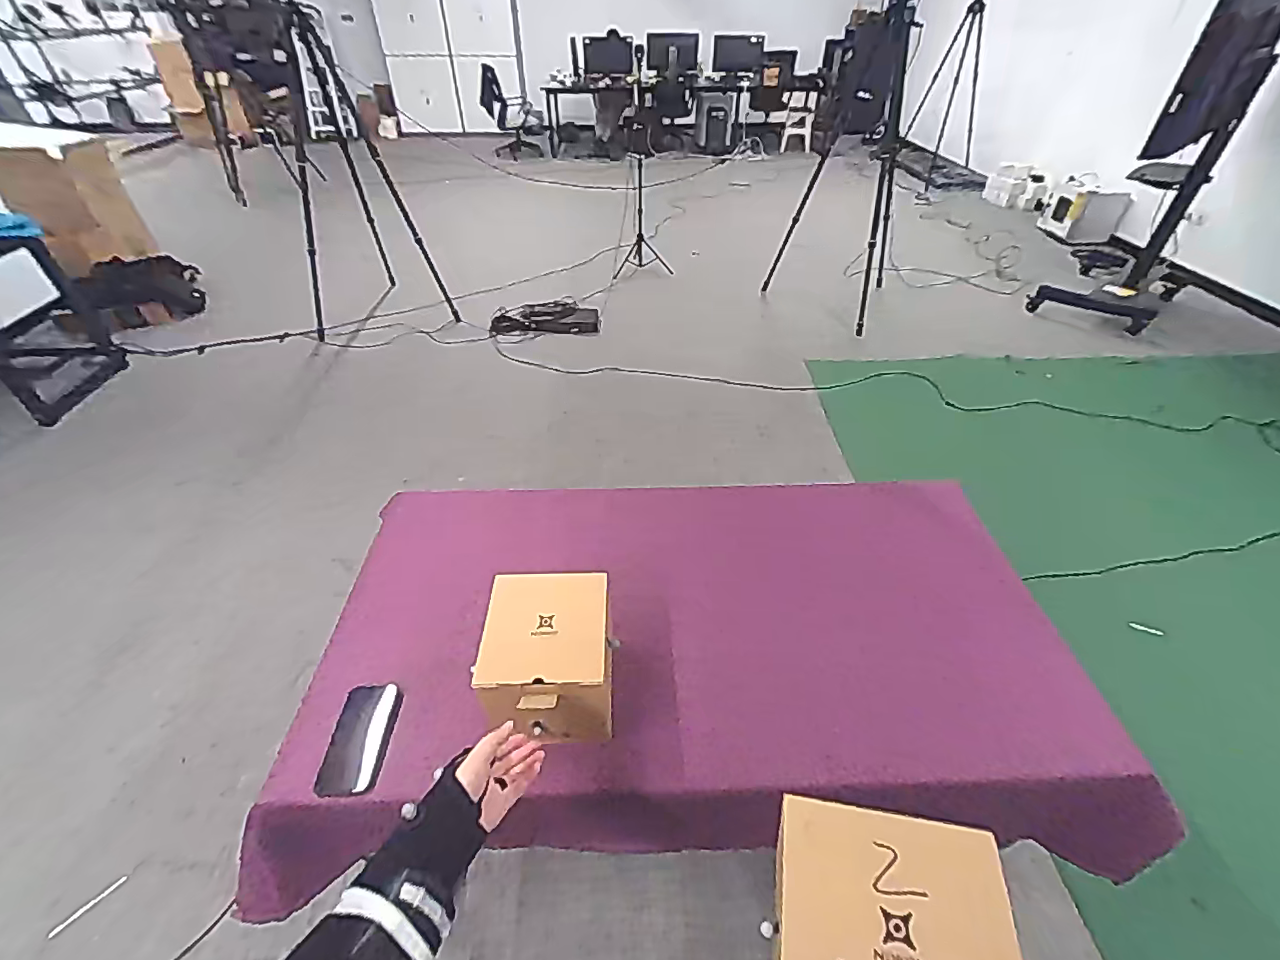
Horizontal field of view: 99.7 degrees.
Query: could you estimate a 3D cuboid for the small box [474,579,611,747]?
[{"bbox_3d":[-0.129,0.265,0.787,0.168,0.176,0.179,-1,42,-1],"label":"small box"}]
